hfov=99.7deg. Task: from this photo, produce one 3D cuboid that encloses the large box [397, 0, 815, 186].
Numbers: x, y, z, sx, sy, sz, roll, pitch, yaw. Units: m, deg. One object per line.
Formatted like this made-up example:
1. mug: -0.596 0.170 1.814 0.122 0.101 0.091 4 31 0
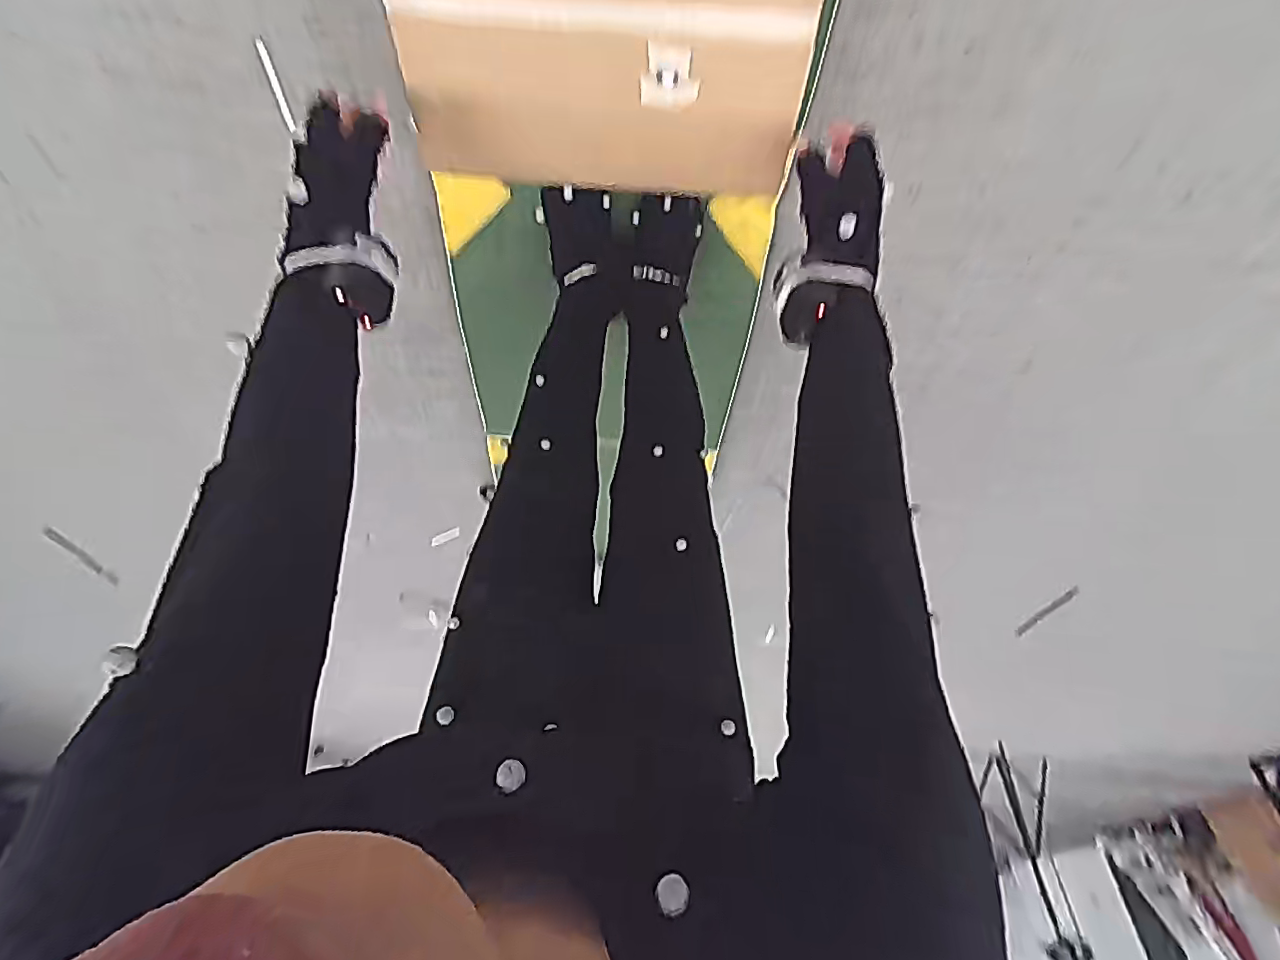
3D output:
1. large box: -0.033 -0.561 0.609 0.408 0.320 0.320 2 141 -1
